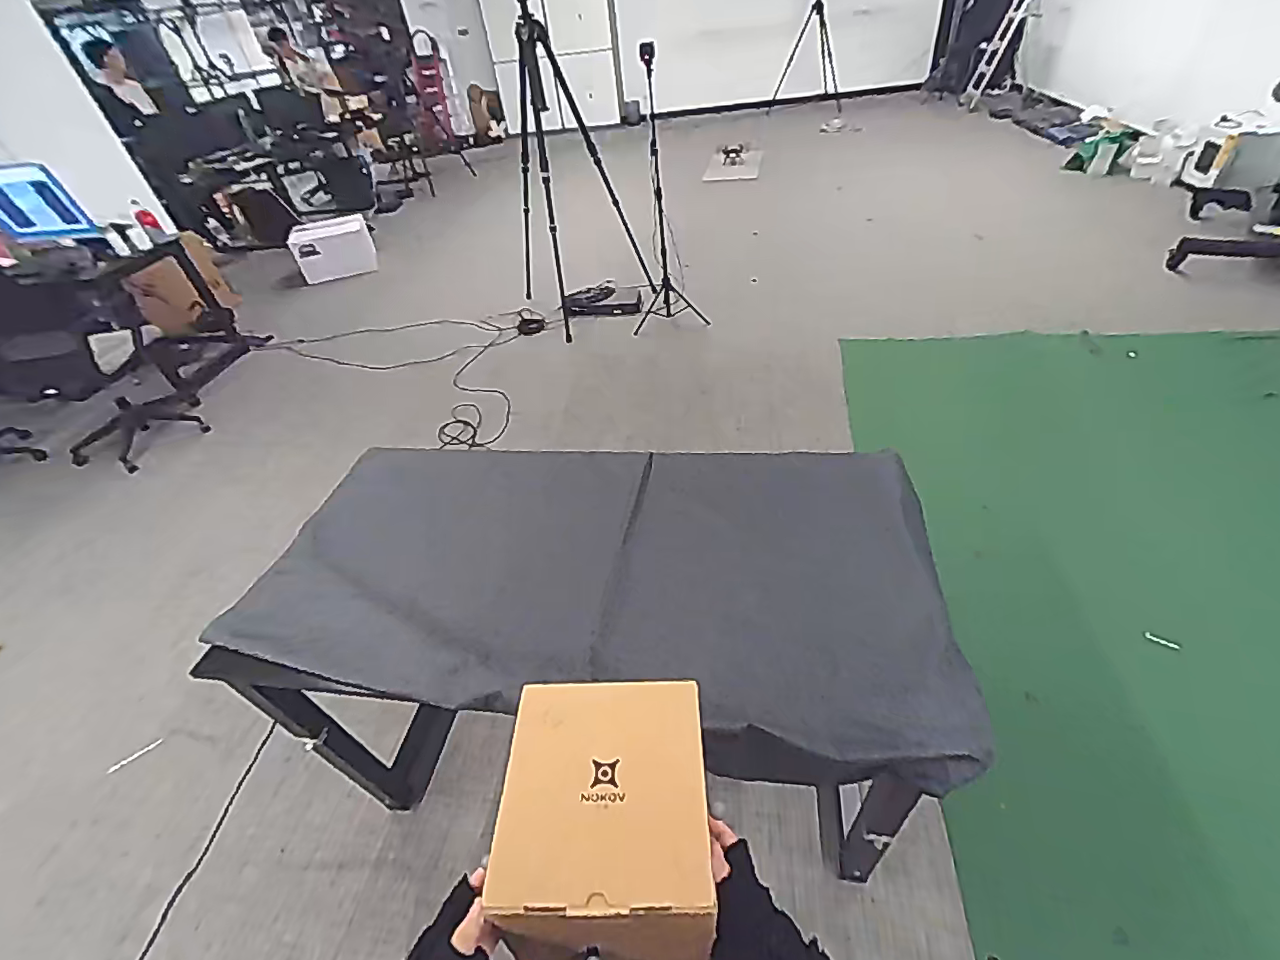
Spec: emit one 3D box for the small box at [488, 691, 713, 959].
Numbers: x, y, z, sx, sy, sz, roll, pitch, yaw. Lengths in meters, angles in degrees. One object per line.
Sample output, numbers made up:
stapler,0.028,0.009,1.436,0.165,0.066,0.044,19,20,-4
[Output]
small box,-0.026,0.320,0.500,0.168,0.176,0.179,-2,38,2
